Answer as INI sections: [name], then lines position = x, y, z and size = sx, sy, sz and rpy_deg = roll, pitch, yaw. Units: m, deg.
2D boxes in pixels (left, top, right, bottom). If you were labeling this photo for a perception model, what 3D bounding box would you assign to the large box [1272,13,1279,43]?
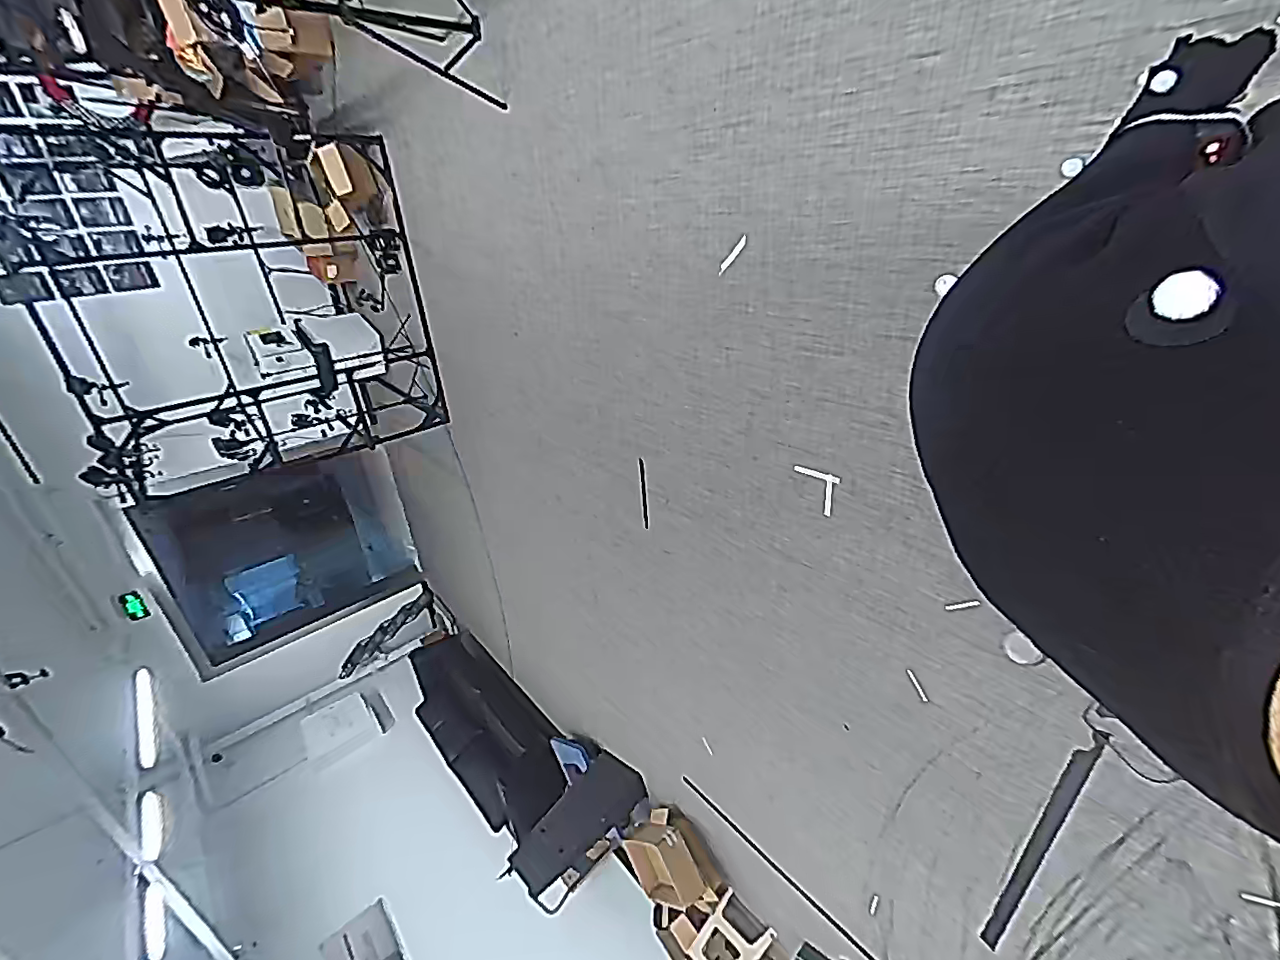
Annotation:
[large box]
position = 1.061, -0.695, 0.582
size = 0.408, 0.320, 0.320
rpy_deg = 28, 130, 42
